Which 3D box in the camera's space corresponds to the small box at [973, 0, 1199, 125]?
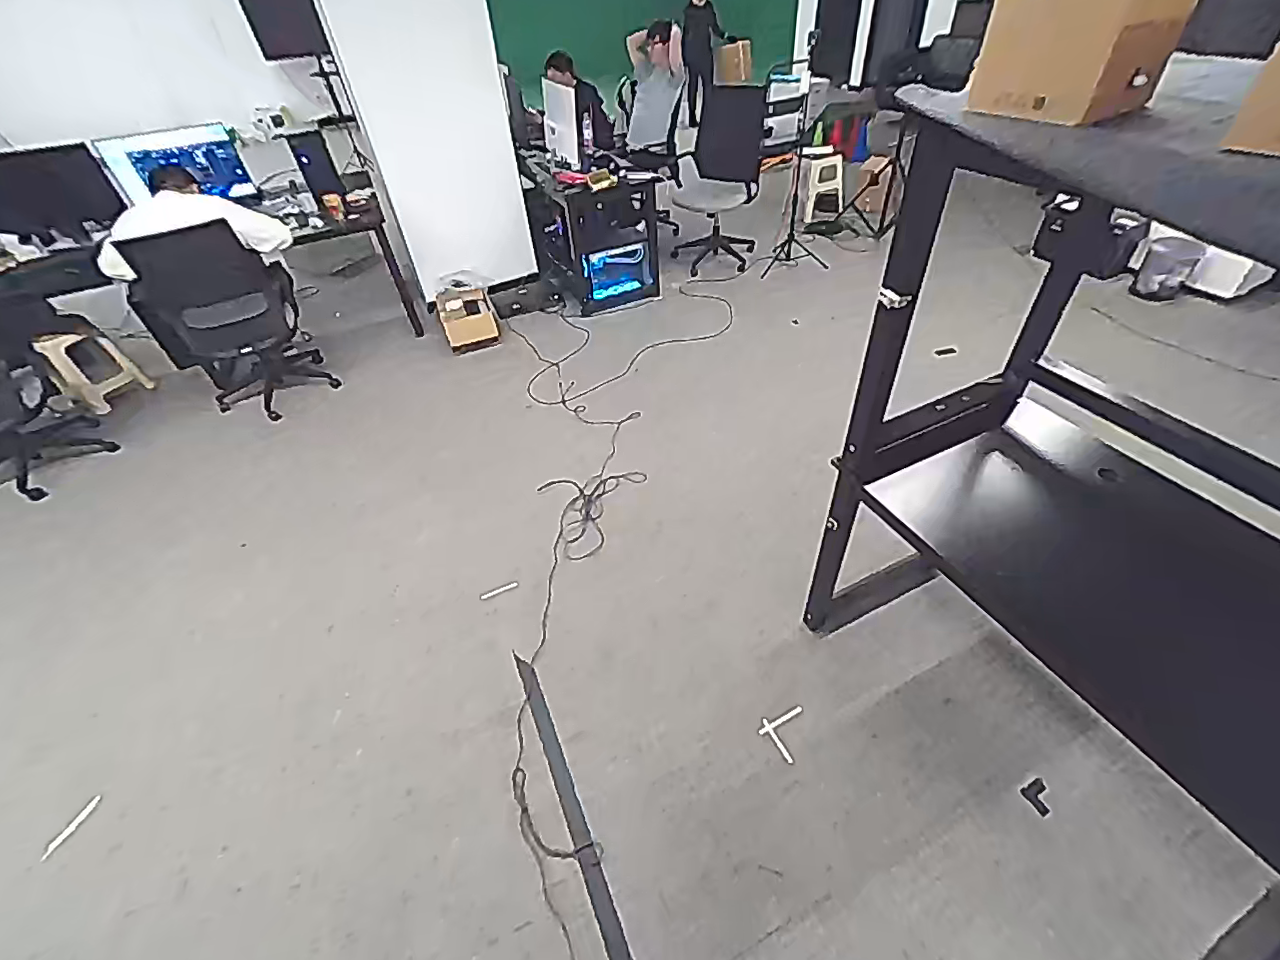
[{"bbox_3d":[0.579,-0.587,0.704,0.179,0.176,0.168,-27,48,-20],"label":"small box"}]
